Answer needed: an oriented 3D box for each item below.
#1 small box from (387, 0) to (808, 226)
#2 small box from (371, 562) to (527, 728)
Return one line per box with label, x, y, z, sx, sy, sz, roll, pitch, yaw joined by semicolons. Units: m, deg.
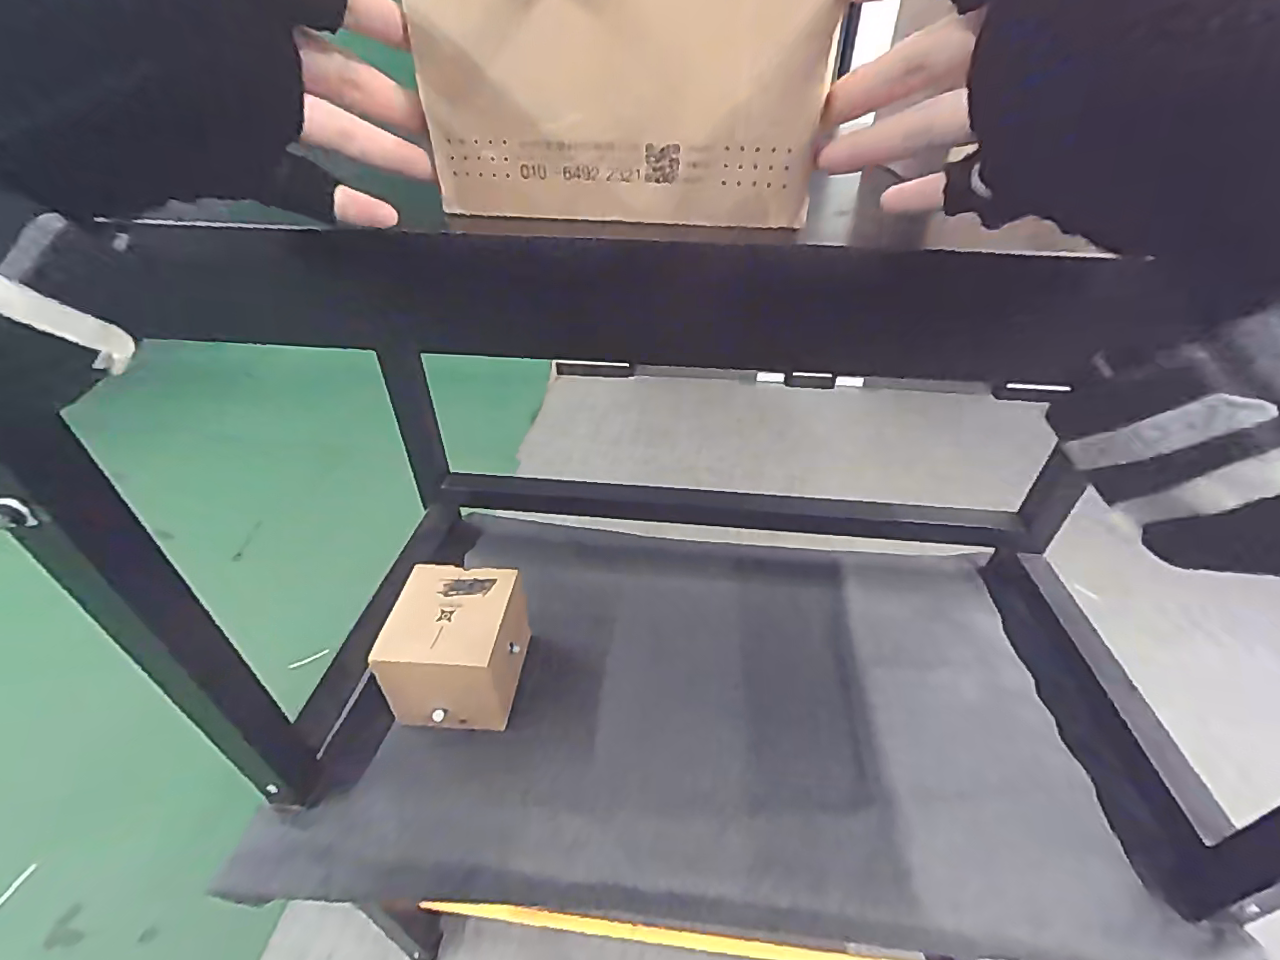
small box;-0.006;-0.230;0.260;0.168;0.176;0.179;6;37;8
small box;-0.276;0.251;0.831;0.168;0.176;0.179;2;38;3
